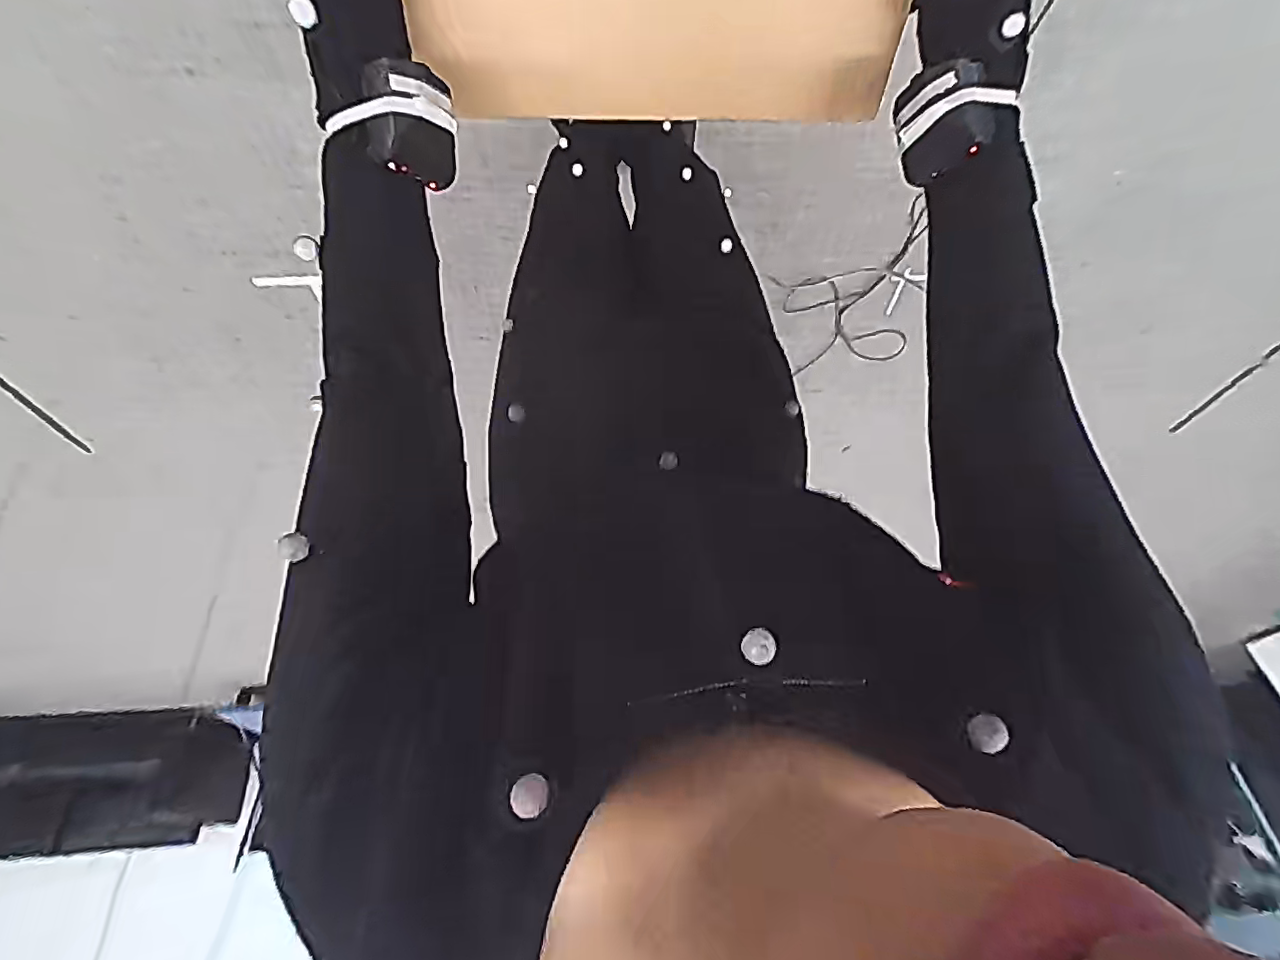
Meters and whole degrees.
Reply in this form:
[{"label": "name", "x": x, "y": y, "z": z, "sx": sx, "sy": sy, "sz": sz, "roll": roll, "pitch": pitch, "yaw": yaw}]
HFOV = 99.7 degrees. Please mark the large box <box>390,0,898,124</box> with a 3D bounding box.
[{"label": "large box", "x": -0.004, "y": -0.529, "z": 0.464, "sx": 0.408, "sy": 0.320, "sz": 0.320, "roll": -2, "pitch": 138, "yaw": -3}]
